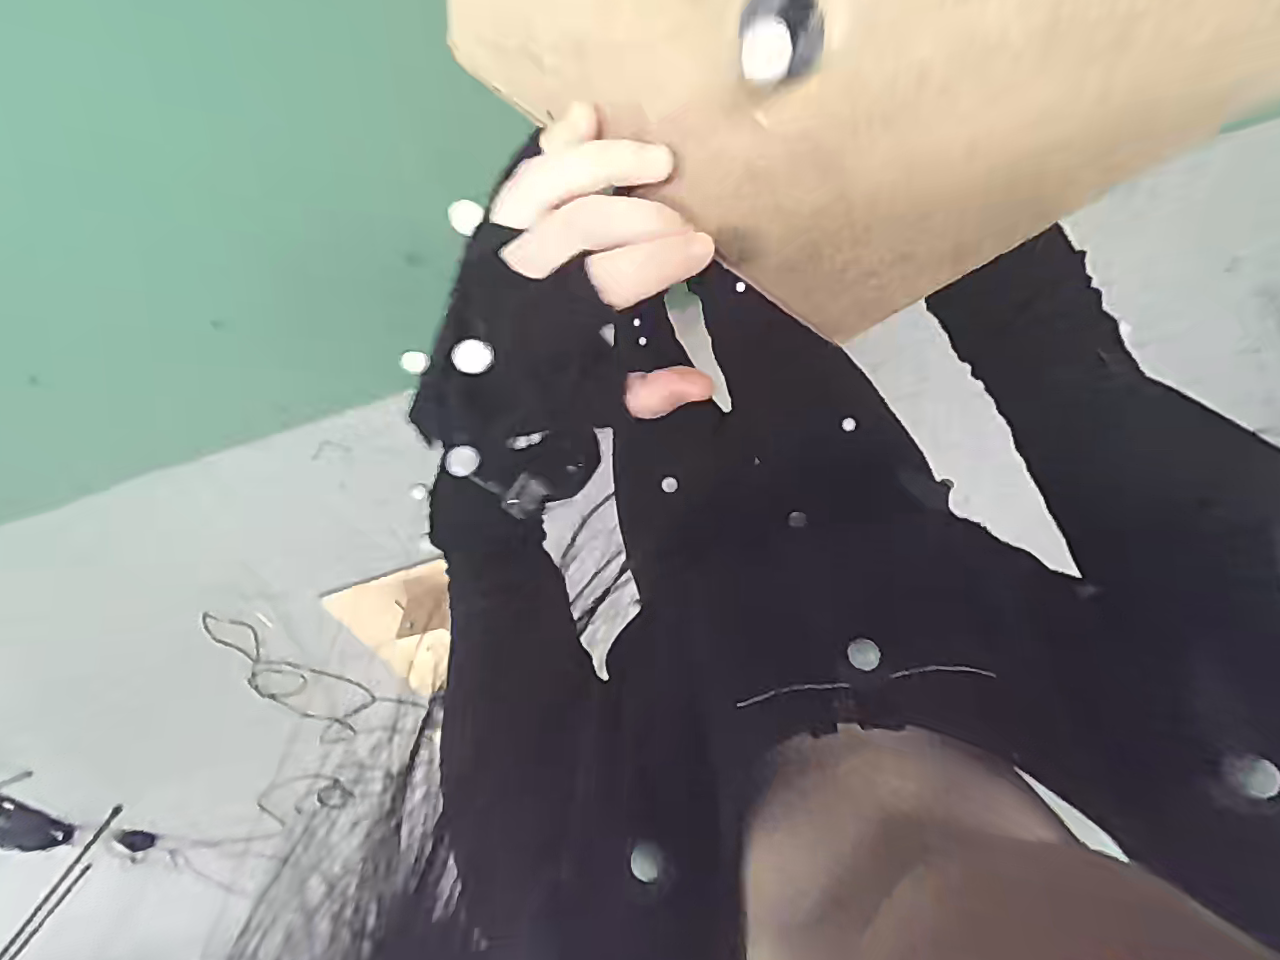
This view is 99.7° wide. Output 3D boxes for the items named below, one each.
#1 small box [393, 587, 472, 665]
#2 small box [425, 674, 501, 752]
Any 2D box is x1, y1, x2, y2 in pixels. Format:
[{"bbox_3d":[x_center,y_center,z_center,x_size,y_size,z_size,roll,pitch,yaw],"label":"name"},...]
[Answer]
[{"bbox_3d":[-0.684,0.484,1.805,0.179,0.176,0.168,-15,128,5],"label":"small box"},{"bbox_3d":[-0.594,0.790,1.839,0.179,0.176,0.168,-17,127,8],"label":"small box"}]
